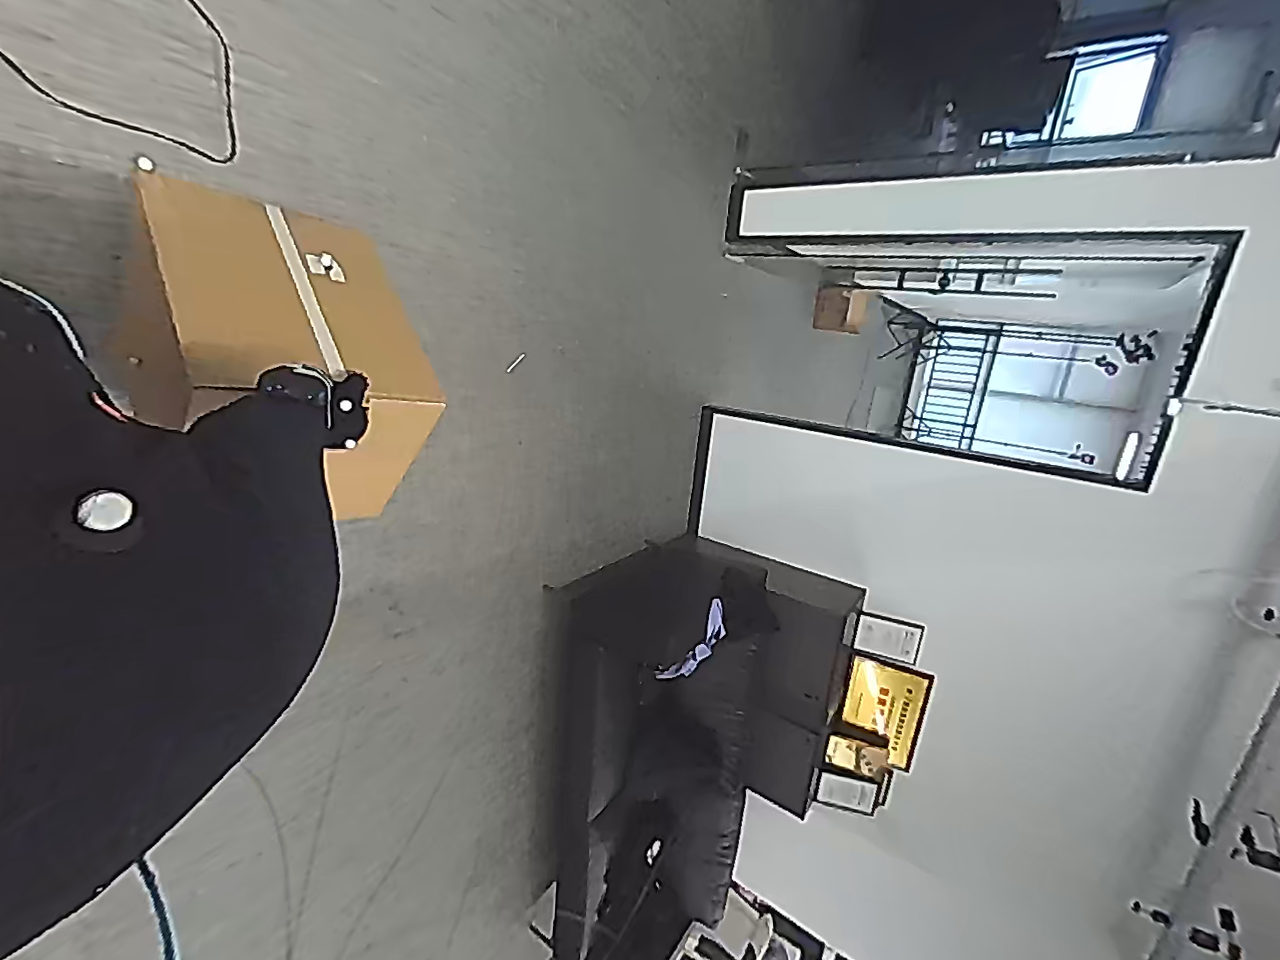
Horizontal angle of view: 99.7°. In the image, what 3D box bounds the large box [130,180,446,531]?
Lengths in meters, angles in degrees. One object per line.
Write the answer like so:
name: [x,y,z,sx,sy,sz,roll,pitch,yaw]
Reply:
large box: [-0.581,-0.180,0.877,0.320,0.408,0.320,-5,147,-50]
